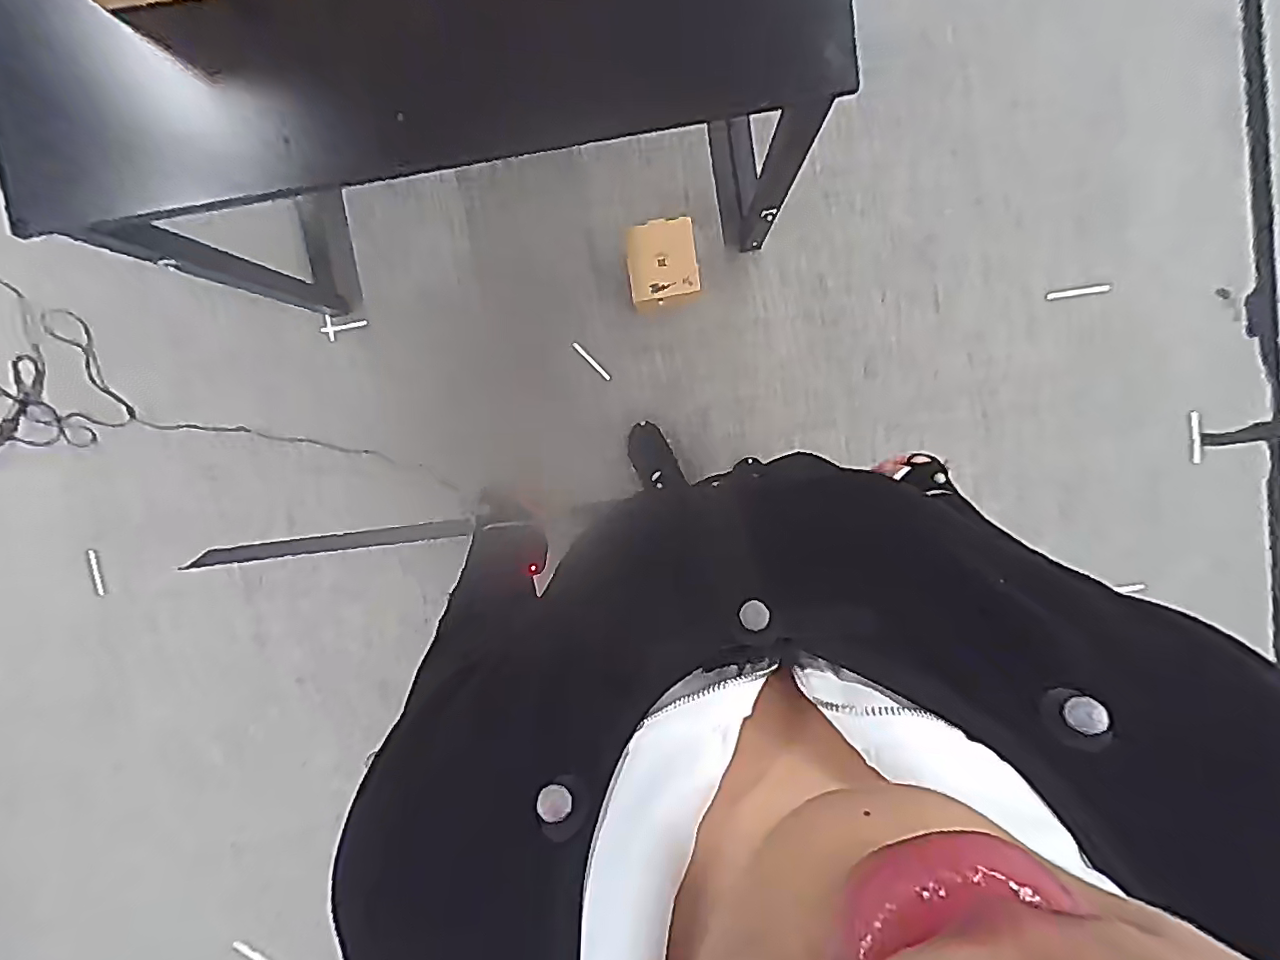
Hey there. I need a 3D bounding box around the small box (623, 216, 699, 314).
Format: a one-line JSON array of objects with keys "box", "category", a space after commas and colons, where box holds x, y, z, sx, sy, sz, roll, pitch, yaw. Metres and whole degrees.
[{"box": [0.053, -0.533, 1.361, 0.168, 0.176, 0.179, -8, 95, 5], "category": "small box"}]
